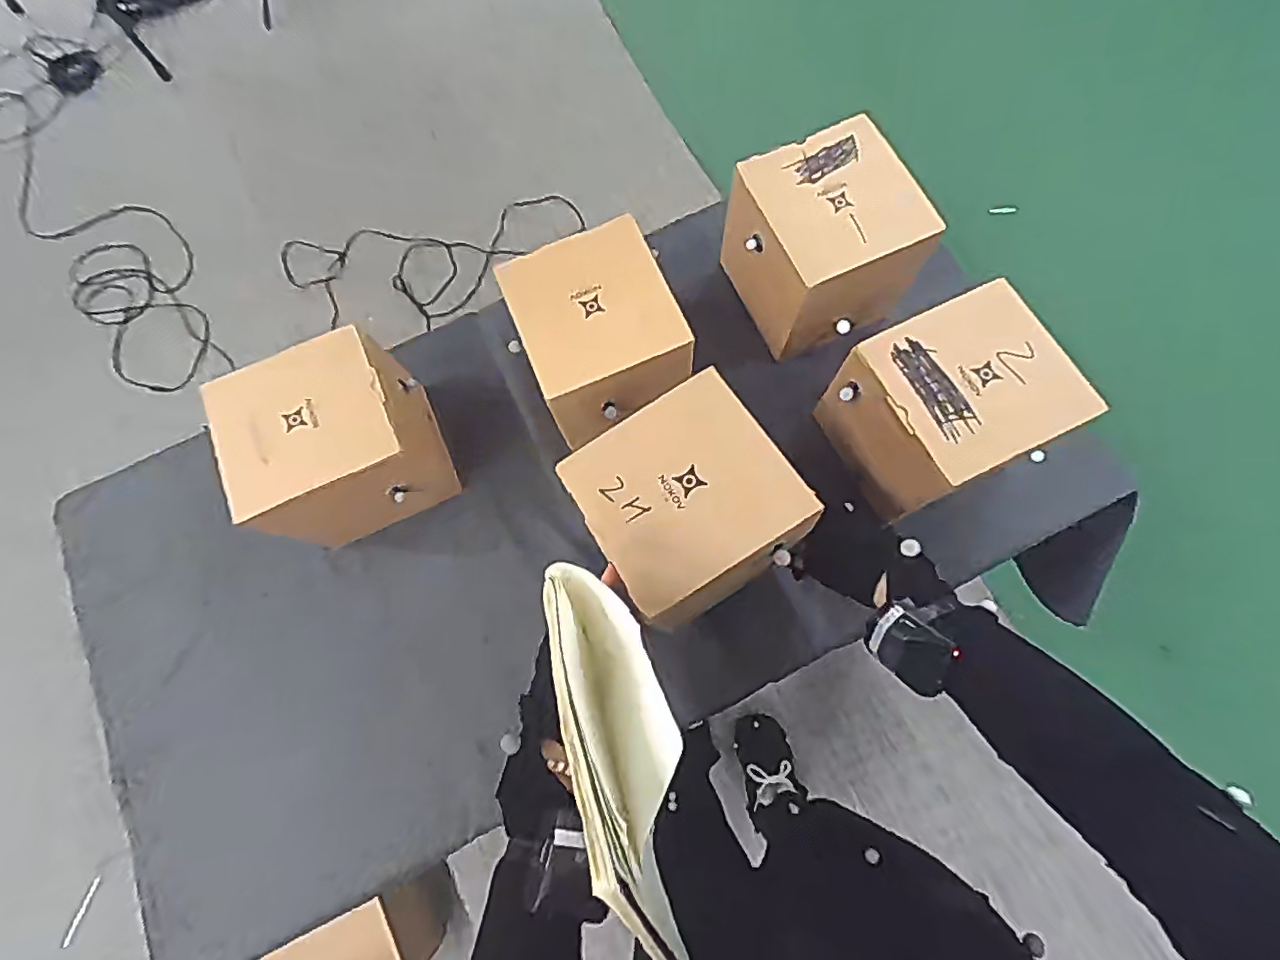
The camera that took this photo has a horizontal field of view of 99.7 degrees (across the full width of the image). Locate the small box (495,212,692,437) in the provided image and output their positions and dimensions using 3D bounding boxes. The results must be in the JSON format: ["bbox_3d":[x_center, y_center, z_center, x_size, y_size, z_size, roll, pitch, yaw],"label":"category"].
[{"bbox_3d":[-0.046,-0.168,0.645,0.168,0.176,0.179,-23,74,-3],"label":"small box"}]

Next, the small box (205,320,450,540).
[{"bbox_3d":[-0.339,-0.046,0.624,0.179,0.176,0.168,-23,74,-5],"label":"small box"}]

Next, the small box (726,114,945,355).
[{"bbox_3d":[0.217,-0.287,0.661,0.168,0.176,0.179,-23,75,-3],"label":"small box"}]

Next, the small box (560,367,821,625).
[{"bbox_3d":[0.051,0.027,0.544,0.179,0.176,0.168,-33,67,-1],"label":"small box"}]
